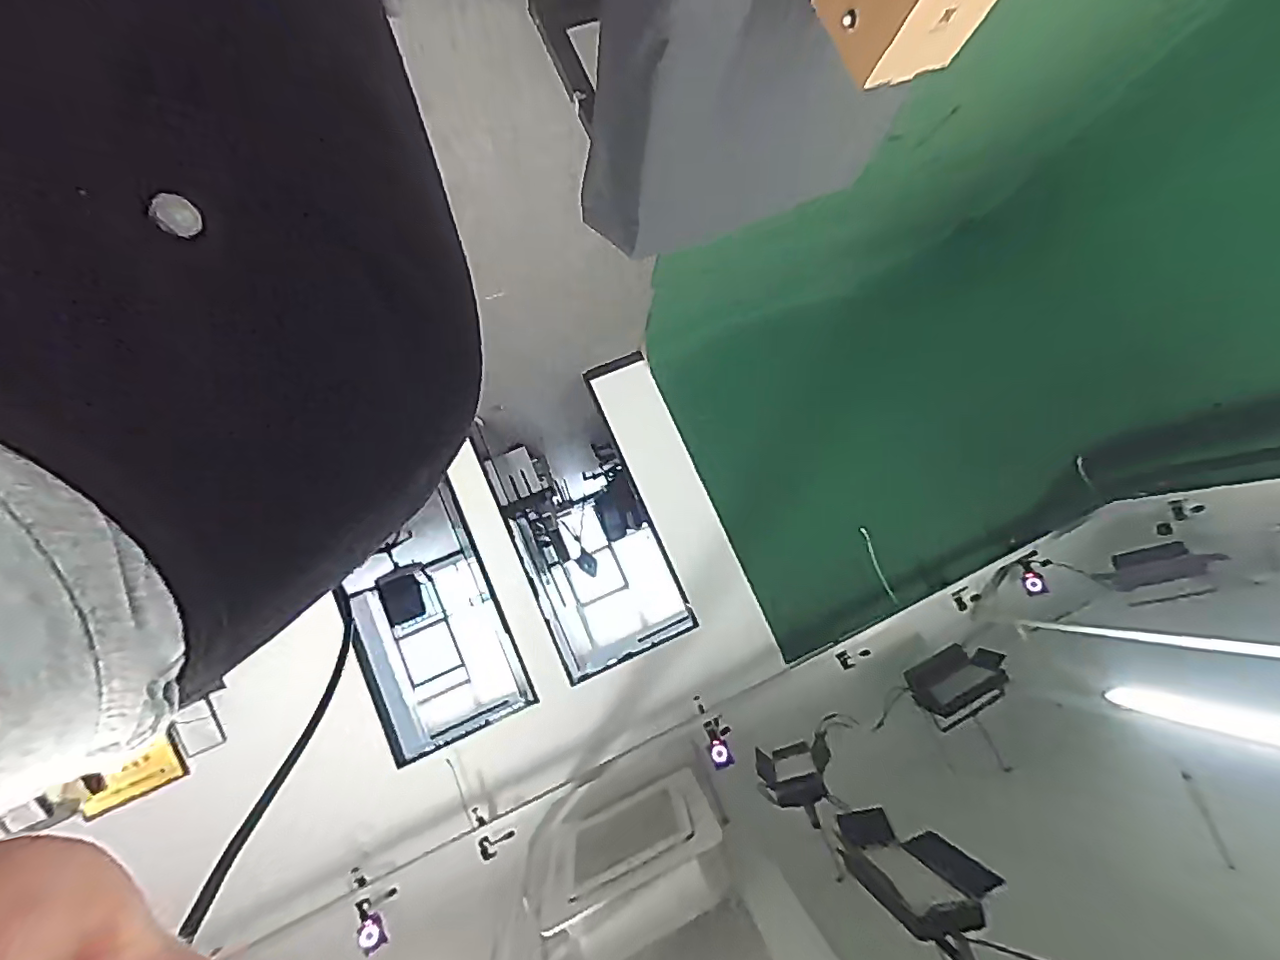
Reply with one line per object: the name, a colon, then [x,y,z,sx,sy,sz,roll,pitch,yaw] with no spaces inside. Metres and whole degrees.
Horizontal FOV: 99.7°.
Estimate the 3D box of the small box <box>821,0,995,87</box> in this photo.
small box: [0.368,-0.686,0.723,0.168,0.176,0.179,-25,172,-12]
